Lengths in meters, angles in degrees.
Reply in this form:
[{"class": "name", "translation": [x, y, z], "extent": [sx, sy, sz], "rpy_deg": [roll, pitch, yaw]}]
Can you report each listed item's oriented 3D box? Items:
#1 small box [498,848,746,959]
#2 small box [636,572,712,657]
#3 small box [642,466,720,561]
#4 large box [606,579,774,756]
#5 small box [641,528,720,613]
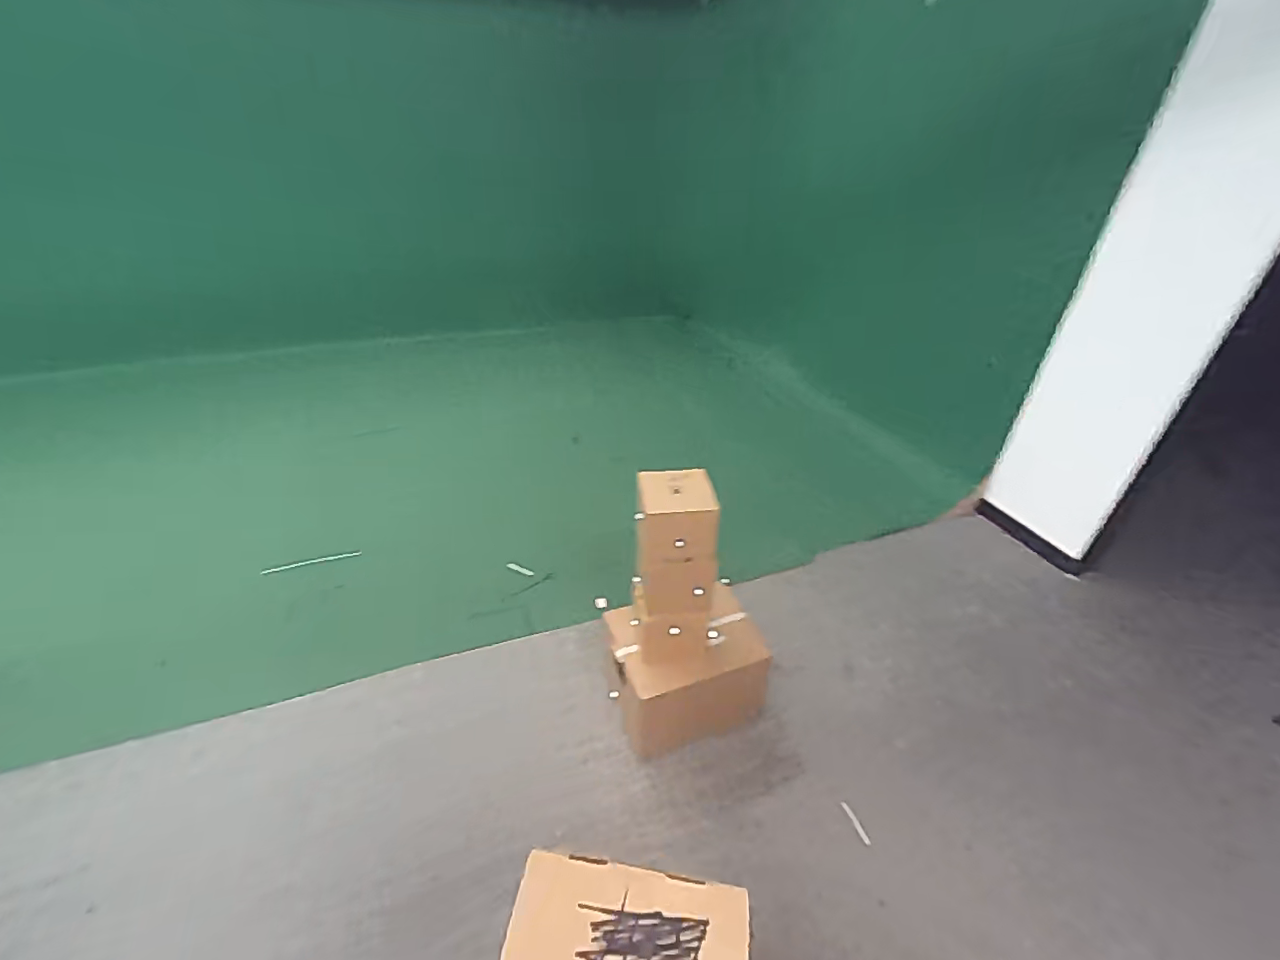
[{"class": "small box", "translation": [-0.015, 0.402, 0.386], "extent": [0.168, 0.176, 0.179], "rpy_deg": [3, 42, 10]}, {"class": "small box", "translation": [0.087, 0.363, 1.487], "extent": [0.179, 0.176, 0.168], "rpy_deg": [-5, 35, -9]}, {"class": "small box", "translation": [0.093, 0.085, 1.314], "extent": [0.168, 0.176, 0.179], "rpy_deg": [-2, 34, -5]}, {"class": "large box", "translation": [0.132, 0.556, 1.636], "extent": [0.408, 0.320, 0.320], "rpy_deg": [-11, 37, -18]}, {"class": "small box", "translation": [0.097, 0.225, 1.401], "extent": [0.179, 0.176, 0.168], "rpy_deg": [-4, 34, -5]}]
